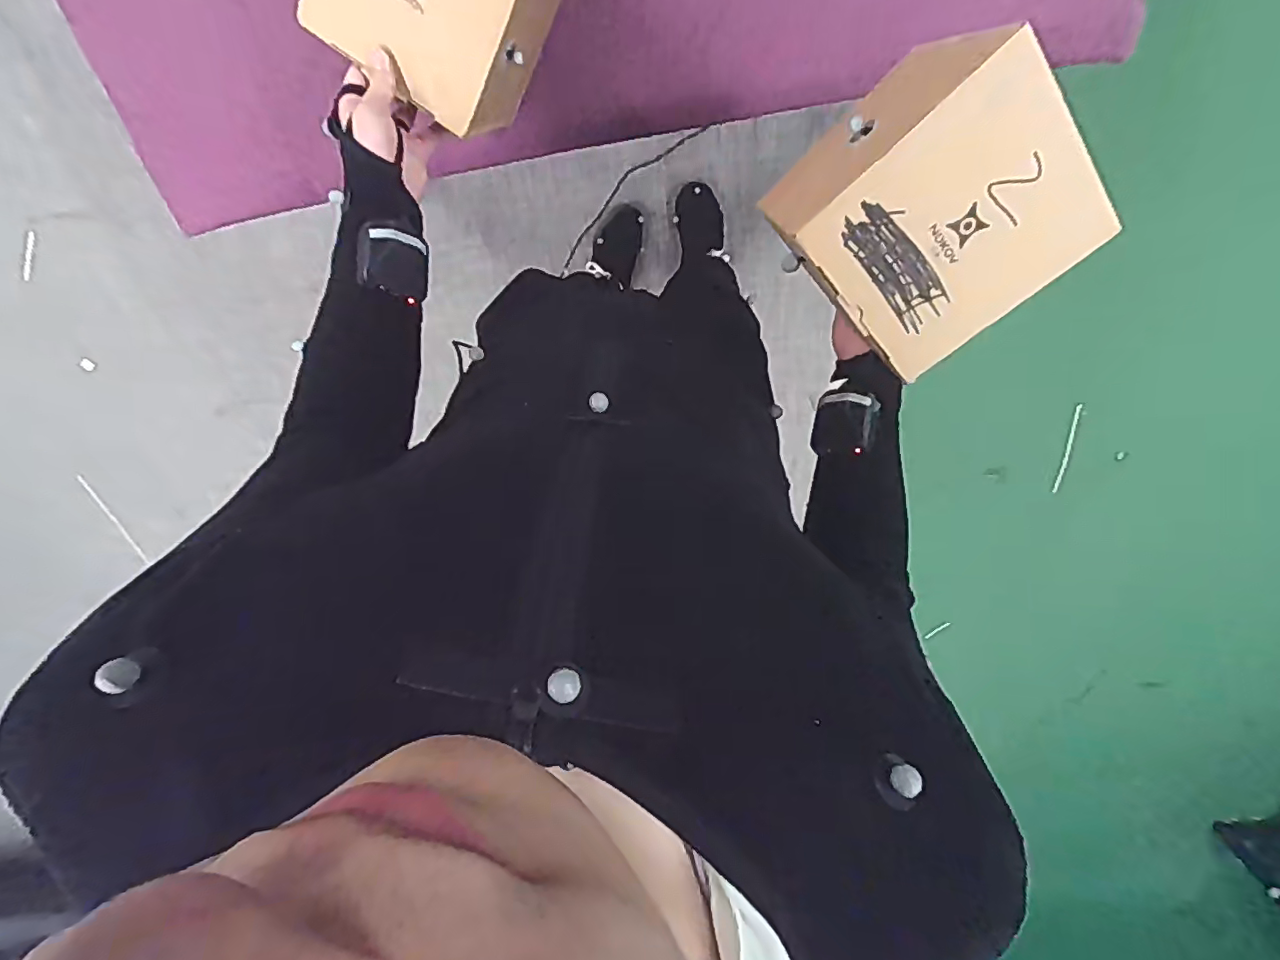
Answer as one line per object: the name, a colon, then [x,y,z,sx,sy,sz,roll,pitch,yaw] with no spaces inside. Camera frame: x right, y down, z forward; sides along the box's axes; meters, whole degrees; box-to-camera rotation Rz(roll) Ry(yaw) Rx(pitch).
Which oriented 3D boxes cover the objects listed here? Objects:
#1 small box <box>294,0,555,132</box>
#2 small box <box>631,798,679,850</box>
small box: [-0.187,-0.479,0.517,0.168,0.176,0.179,30,126,-18]
small box: [0.057,1.300,1.985,0.168,0.176,0.179,-6,119,2]
